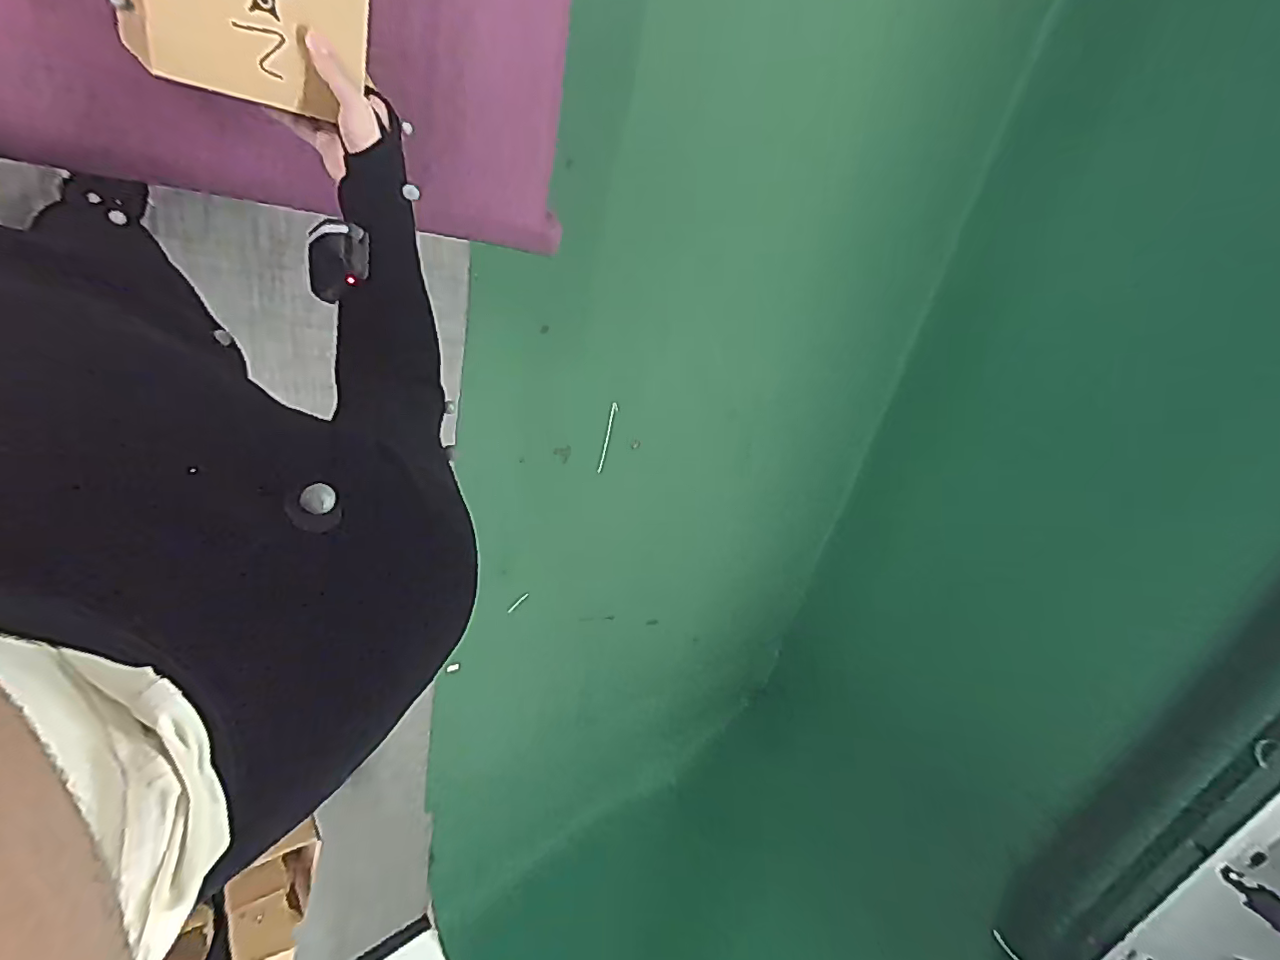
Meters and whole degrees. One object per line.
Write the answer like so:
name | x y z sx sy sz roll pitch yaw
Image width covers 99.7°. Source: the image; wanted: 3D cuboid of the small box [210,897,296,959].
small box | -1.053 1.296 1.467 0.168 0.176 0.179 2 115 -44

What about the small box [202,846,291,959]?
small box | -1.149 1.221 1.575 0.179 0.176 0.168 3 114 -46
